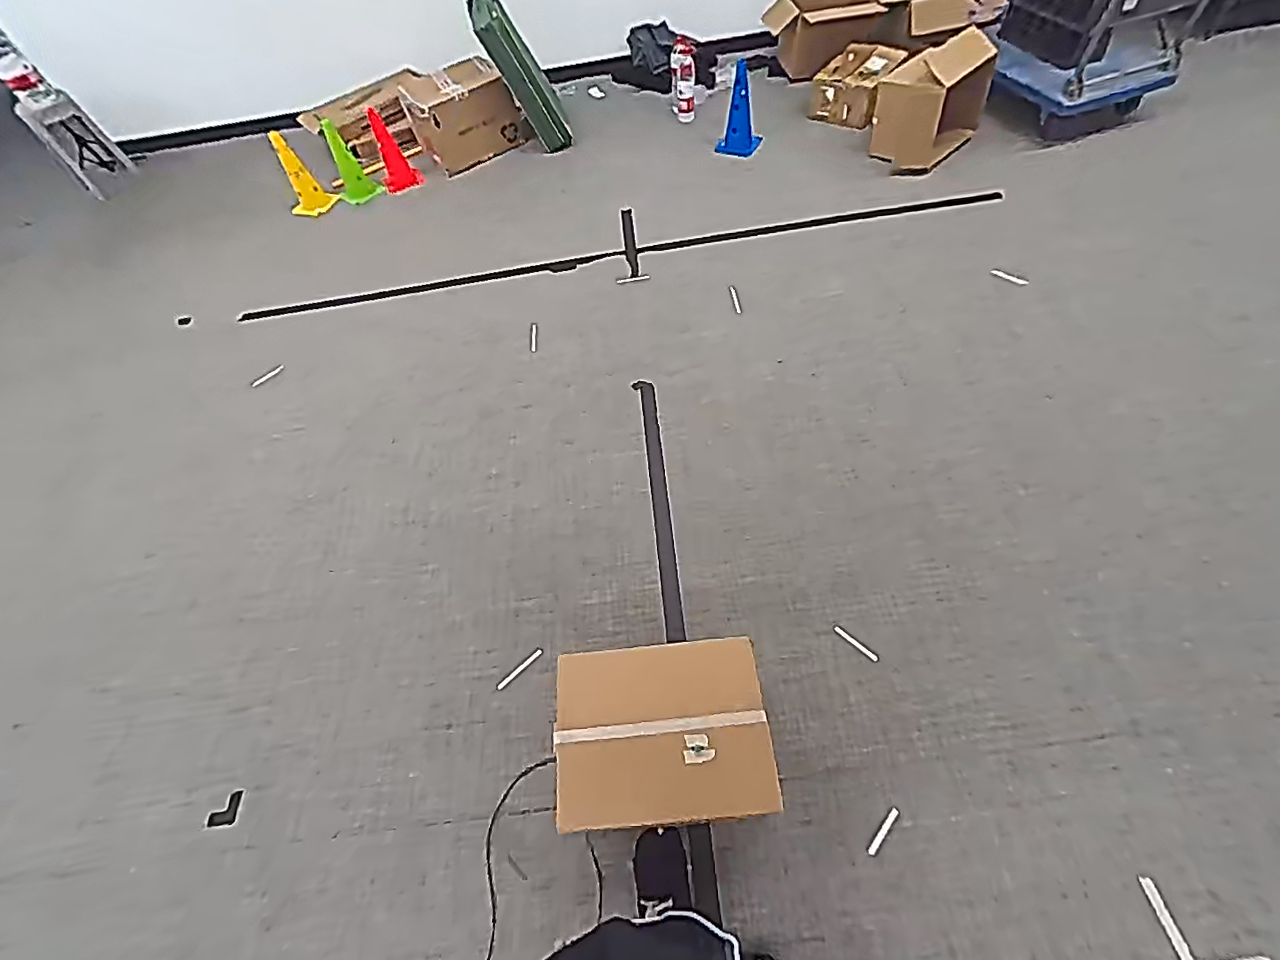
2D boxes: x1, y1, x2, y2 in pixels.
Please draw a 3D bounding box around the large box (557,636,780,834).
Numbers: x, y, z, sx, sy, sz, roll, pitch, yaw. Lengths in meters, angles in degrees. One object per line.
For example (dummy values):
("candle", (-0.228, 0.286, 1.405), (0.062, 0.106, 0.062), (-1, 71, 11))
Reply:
("large box", (0.049, 0.552, 1.153), (0.408, 0.320, 0.320), (-6, 57, 2))
